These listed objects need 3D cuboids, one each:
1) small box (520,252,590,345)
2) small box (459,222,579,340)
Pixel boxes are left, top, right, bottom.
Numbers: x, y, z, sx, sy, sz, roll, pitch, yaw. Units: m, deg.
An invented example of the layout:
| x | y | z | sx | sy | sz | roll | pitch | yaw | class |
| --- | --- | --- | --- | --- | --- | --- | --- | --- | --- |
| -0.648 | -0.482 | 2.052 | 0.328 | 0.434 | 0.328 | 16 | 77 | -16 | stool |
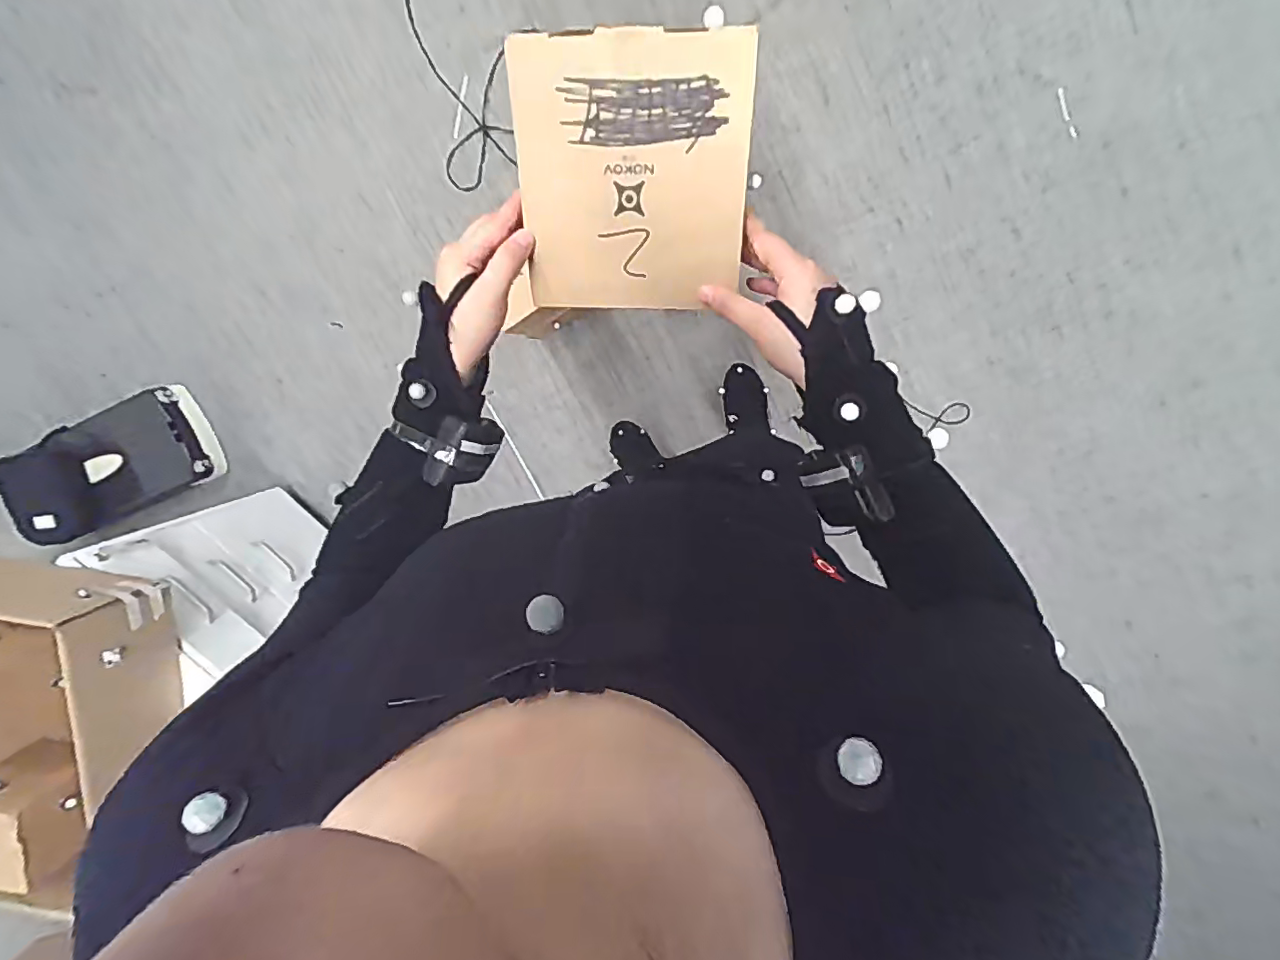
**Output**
| x | y | z | sx | sy | sz | roll | pitch | yaw | class |
| --- | --- | --- | --- | --- | --- | --- | --- | --- | --- |
| -0.238 | -0.451 | 1.334 | 0.179 | 0.176 | 0.168 | -29 | 99 | 12 | small box |
| -0.249 | -0.421 | 1.172 | 0.179 | 0.176 | 0.168 | -31 | 98 | 12 | small box |
